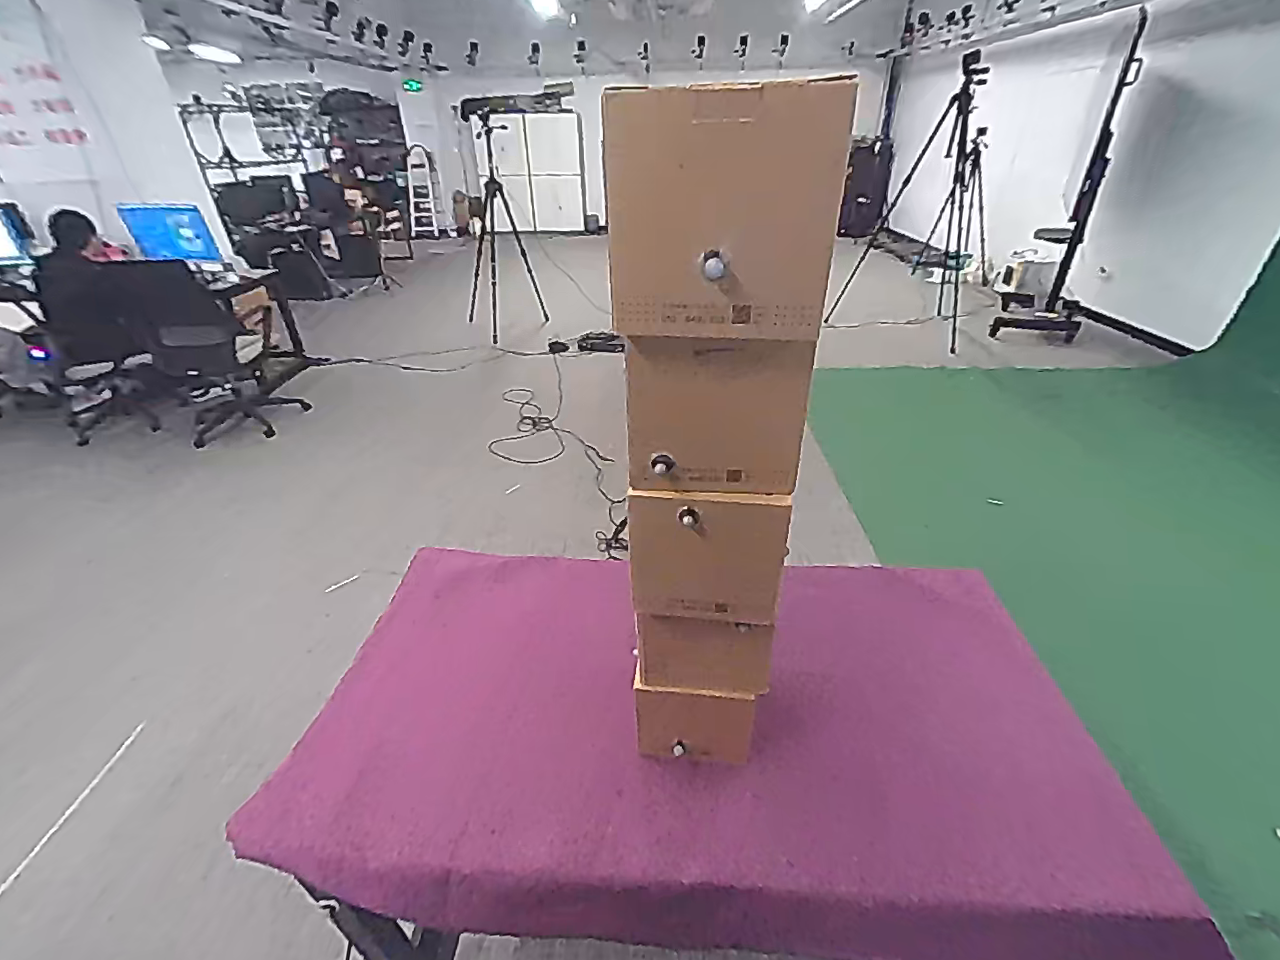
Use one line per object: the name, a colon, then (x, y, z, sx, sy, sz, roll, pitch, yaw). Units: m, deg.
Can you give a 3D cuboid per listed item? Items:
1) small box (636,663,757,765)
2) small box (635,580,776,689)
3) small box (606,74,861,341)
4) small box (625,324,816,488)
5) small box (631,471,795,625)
small box: (0.088, 0.304, 0.836, 0.168, 0.176, 0.179, 2, 34, 8)
small box: (0.091, 0.168, 0.750, 0.179, 0.176, 0.168, 2, 33, 6)
small box: (0.073, -0.228, 0.455, 0.168, 0.176, 0.179, 4, 34, 10)
small box: (0.079, -0.103, 0.565, 0.168, 0.176, 0.179, 2, 32, 5)
small box: (0.085, 0.043, 0.642, 0.168, 0.176, 0.179, 3, 32, 9)
